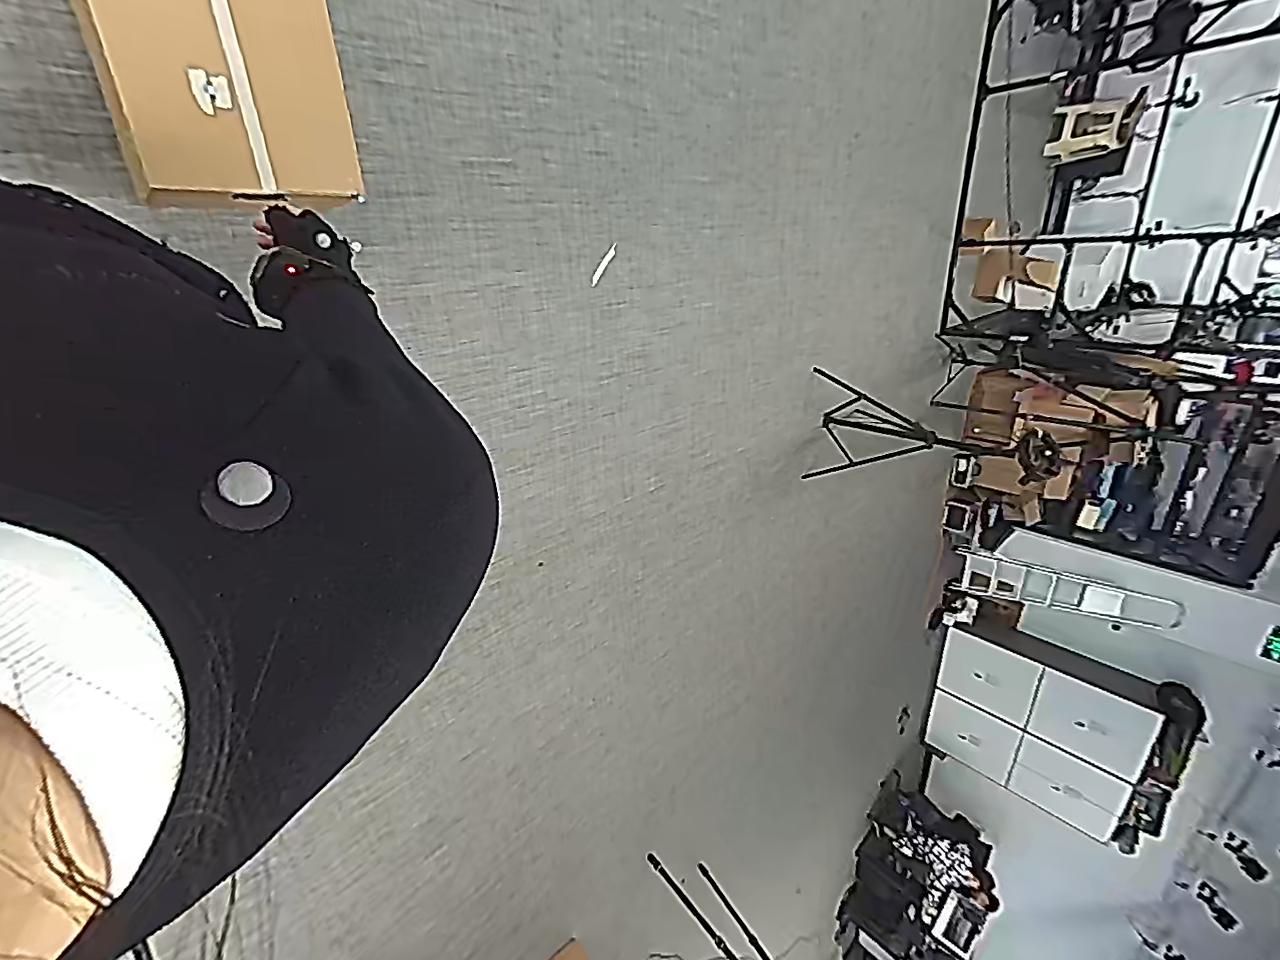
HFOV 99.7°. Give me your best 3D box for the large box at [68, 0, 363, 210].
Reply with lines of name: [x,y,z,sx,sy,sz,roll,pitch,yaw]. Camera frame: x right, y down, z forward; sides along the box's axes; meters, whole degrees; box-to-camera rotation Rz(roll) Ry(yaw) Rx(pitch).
large box: [-0.739,-0.706,0.941,0.320,0.320,0.408,-21,120,-37]
